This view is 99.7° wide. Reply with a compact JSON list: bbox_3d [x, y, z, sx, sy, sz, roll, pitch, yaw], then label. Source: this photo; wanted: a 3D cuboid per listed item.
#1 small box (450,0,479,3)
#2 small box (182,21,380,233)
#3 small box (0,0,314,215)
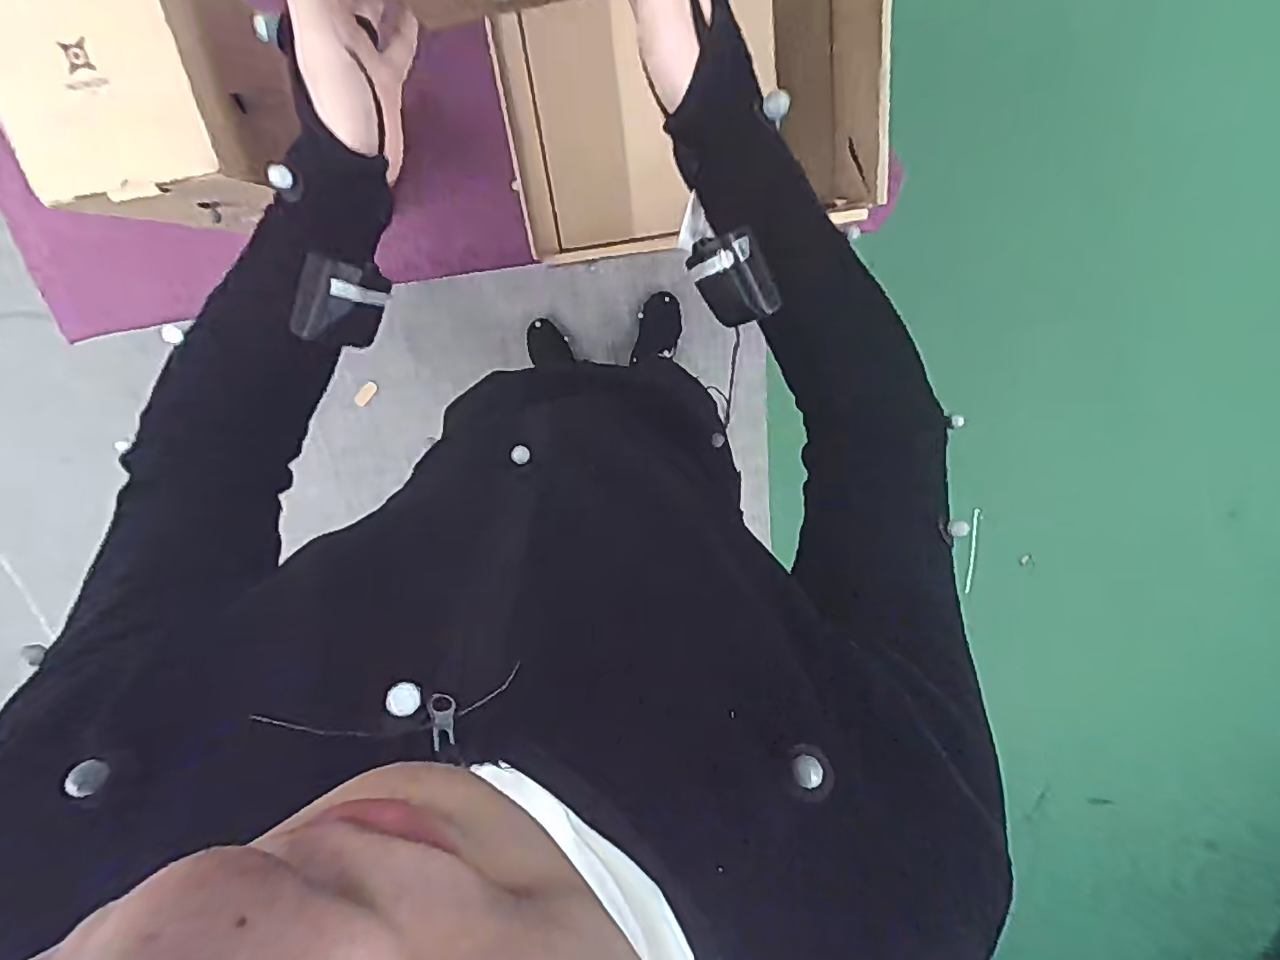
[{"bbox_3d":[-0.091,-0.409,0.305,0.168,0.176,0.179,-7,115,3],"label":"small box"},{"bbox_3d":[-0.447,-0.407,0.658,0.168,0.176,0.179,-7,109,1],"label":"small box"},{"bbox_3d":[-0.445,-0.354,0.503,0.168,0.176,0.179,-8,110,1],"label":"small box"}]
